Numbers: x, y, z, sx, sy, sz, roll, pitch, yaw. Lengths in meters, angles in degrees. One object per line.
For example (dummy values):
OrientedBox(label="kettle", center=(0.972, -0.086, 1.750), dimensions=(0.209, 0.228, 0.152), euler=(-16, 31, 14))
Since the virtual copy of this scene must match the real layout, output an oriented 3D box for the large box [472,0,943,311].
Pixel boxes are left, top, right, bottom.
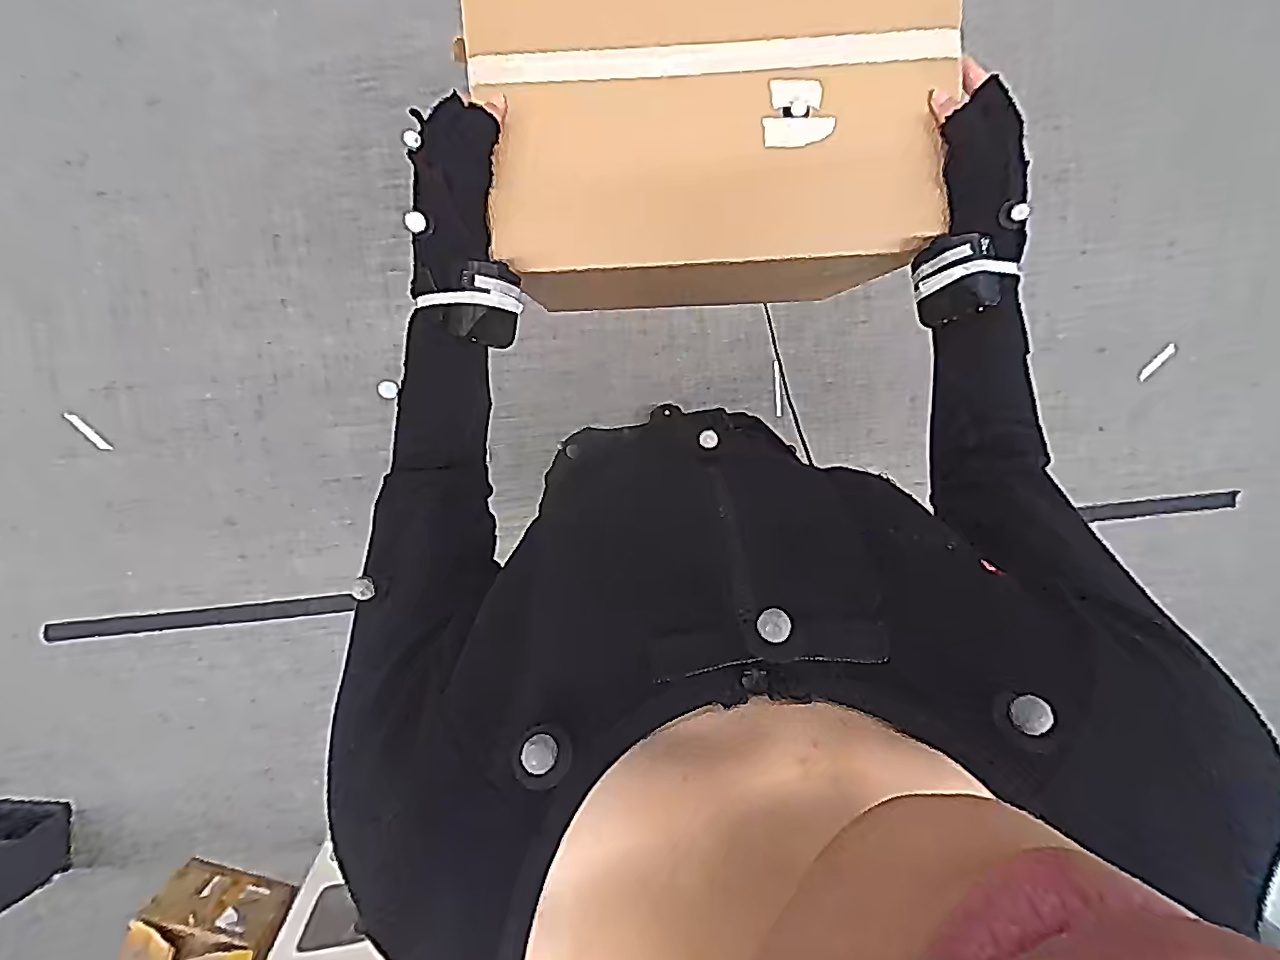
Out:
OrientedBox(label="large box", center=(0.057, -0.381, 0.612), dimensions=(0.408, 0.320, 0.320), euler=(-4, 102, -1))
